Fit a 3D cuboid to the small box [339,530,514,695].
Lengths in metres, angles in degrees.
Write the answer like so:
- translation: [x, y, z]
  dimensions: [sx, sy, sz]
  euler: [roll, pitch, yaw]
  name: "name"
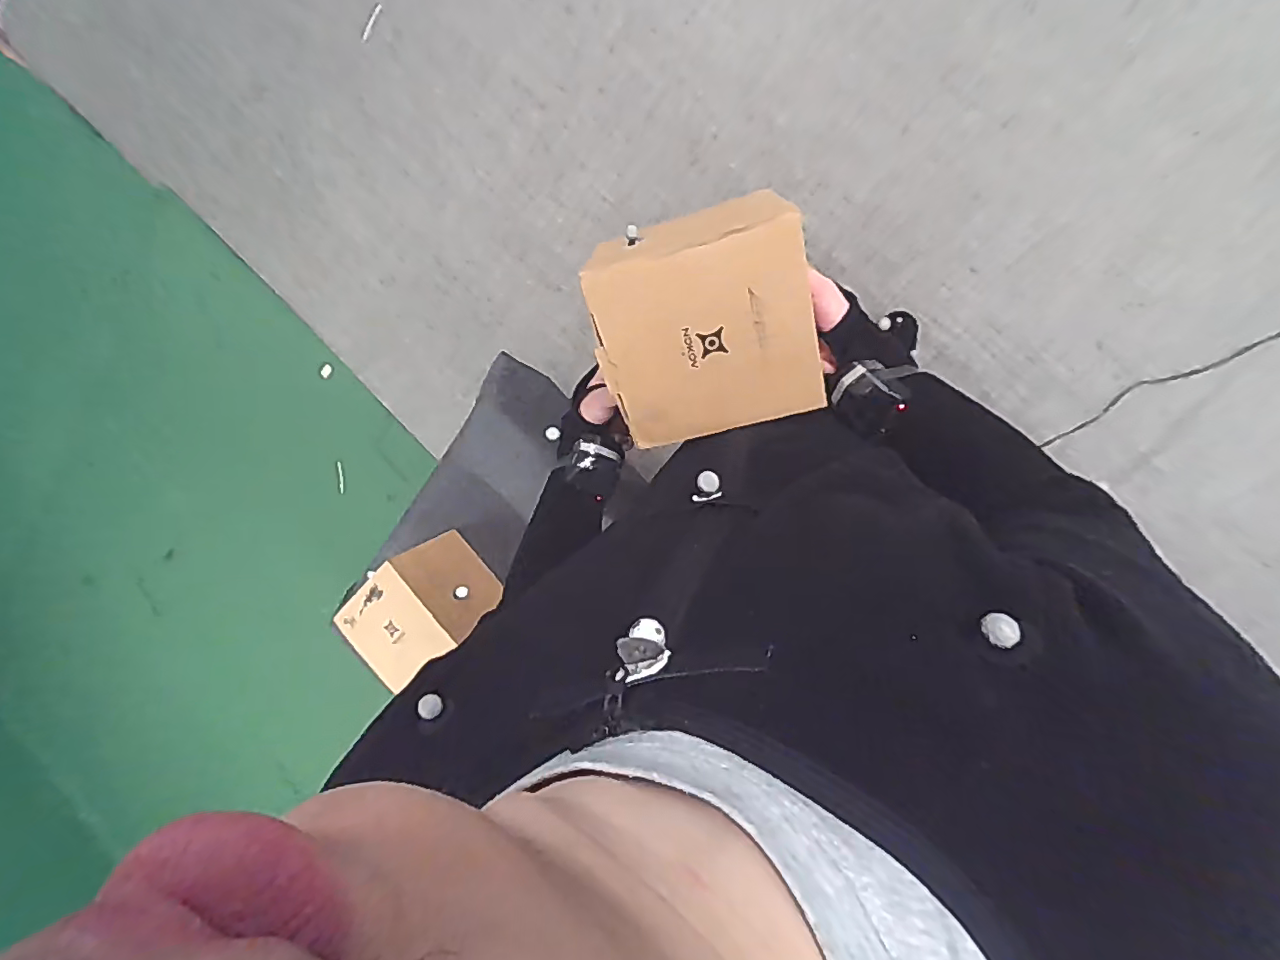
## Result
- translation: [-0.346, 0.212, 0.905]
  dimensions: [0.168, 0.176, 0.179]
  euler: [-42, 88, 20]
  name: "small box"
